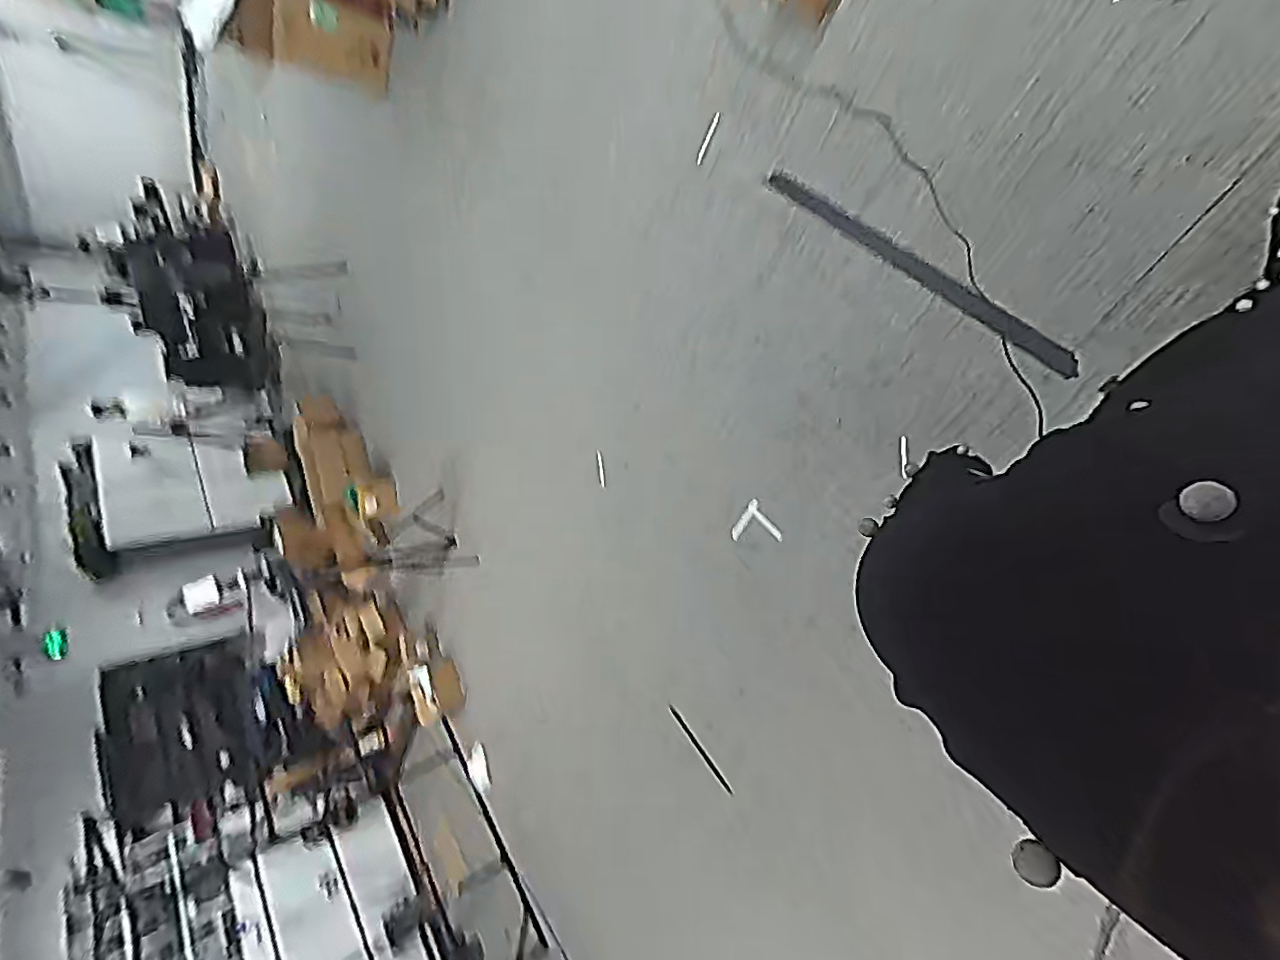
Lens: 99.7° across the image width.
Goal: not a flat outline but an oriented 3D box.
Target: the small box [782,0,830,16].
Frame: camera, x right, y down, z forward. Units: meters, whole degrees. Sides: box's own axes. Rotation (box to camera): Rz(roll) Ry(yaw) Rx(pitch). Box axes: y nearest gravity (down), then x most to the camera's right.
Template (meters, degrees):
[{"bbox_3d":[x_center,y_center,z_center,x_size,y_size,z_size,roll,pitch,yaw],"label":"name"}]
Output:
[{"bbox_3d":[0.418,-1.356,1.402,0.179,0.176,0.168,52,131,26],"label":"small box"}]
